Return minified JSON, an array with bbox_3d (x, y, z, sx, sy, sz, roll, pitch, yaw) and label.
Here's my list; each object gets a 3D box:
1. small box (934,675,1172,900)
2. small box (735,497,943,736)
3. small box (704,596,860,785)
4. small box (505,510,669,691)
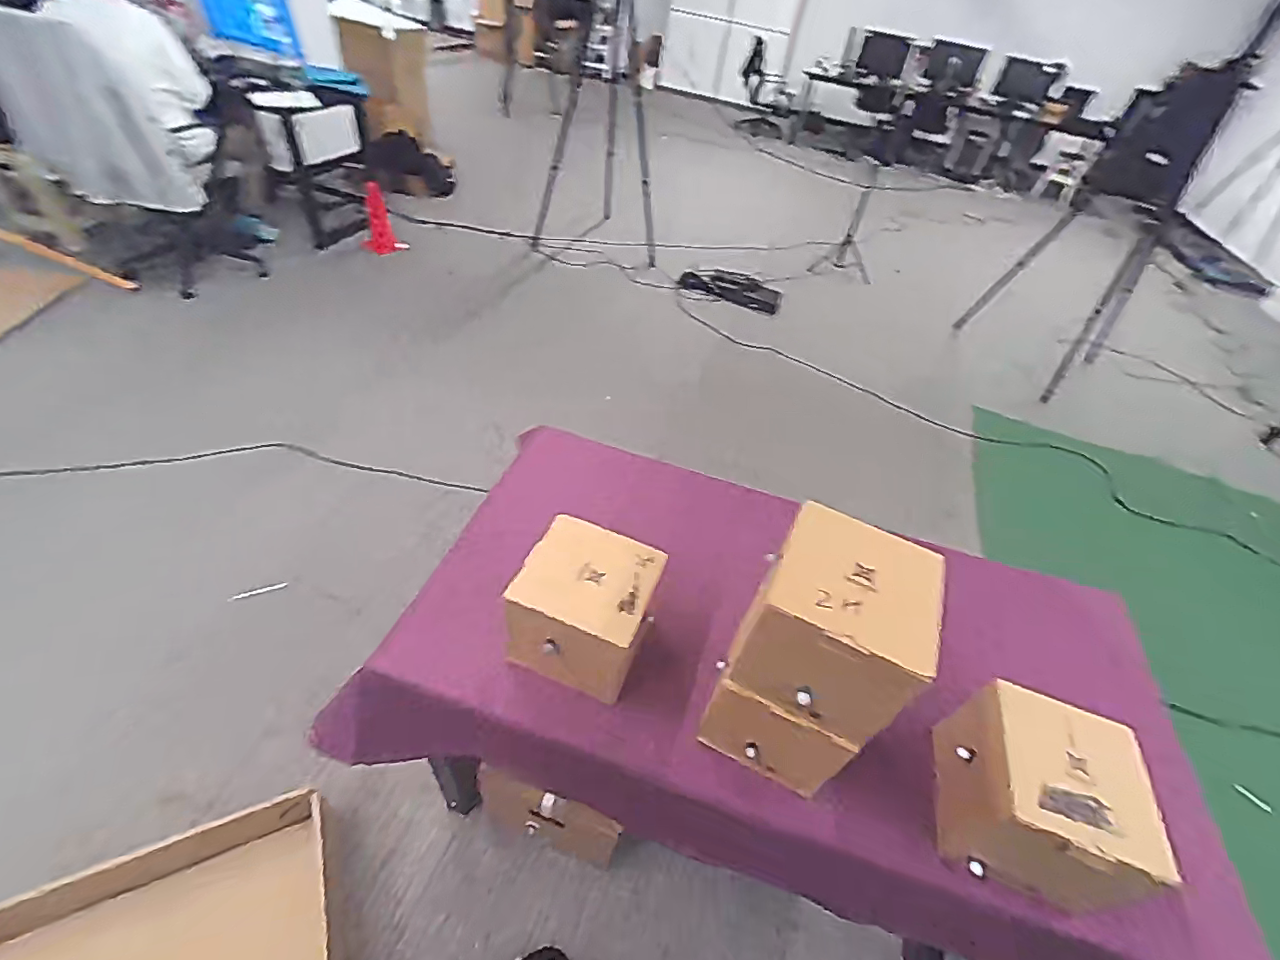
[{"bbox_3d":[0.496,0.391,0.685,0.168,0.176,0.179,20,44,10],"label":"small box"},{"bbox_3d":[0.227,0.159,0.636,0.168,0.176,0.179,24,47,14],"label":"small box"},{"bbox_3d":[0.202,0.278,0.747,0.168,0.176,0.179,24,47,13],"label":"small box"},{"bbox_3d":[-0.076,0.179,0.791,0.179,0.176,0.168,20,46,10],"label":"small box"}]
